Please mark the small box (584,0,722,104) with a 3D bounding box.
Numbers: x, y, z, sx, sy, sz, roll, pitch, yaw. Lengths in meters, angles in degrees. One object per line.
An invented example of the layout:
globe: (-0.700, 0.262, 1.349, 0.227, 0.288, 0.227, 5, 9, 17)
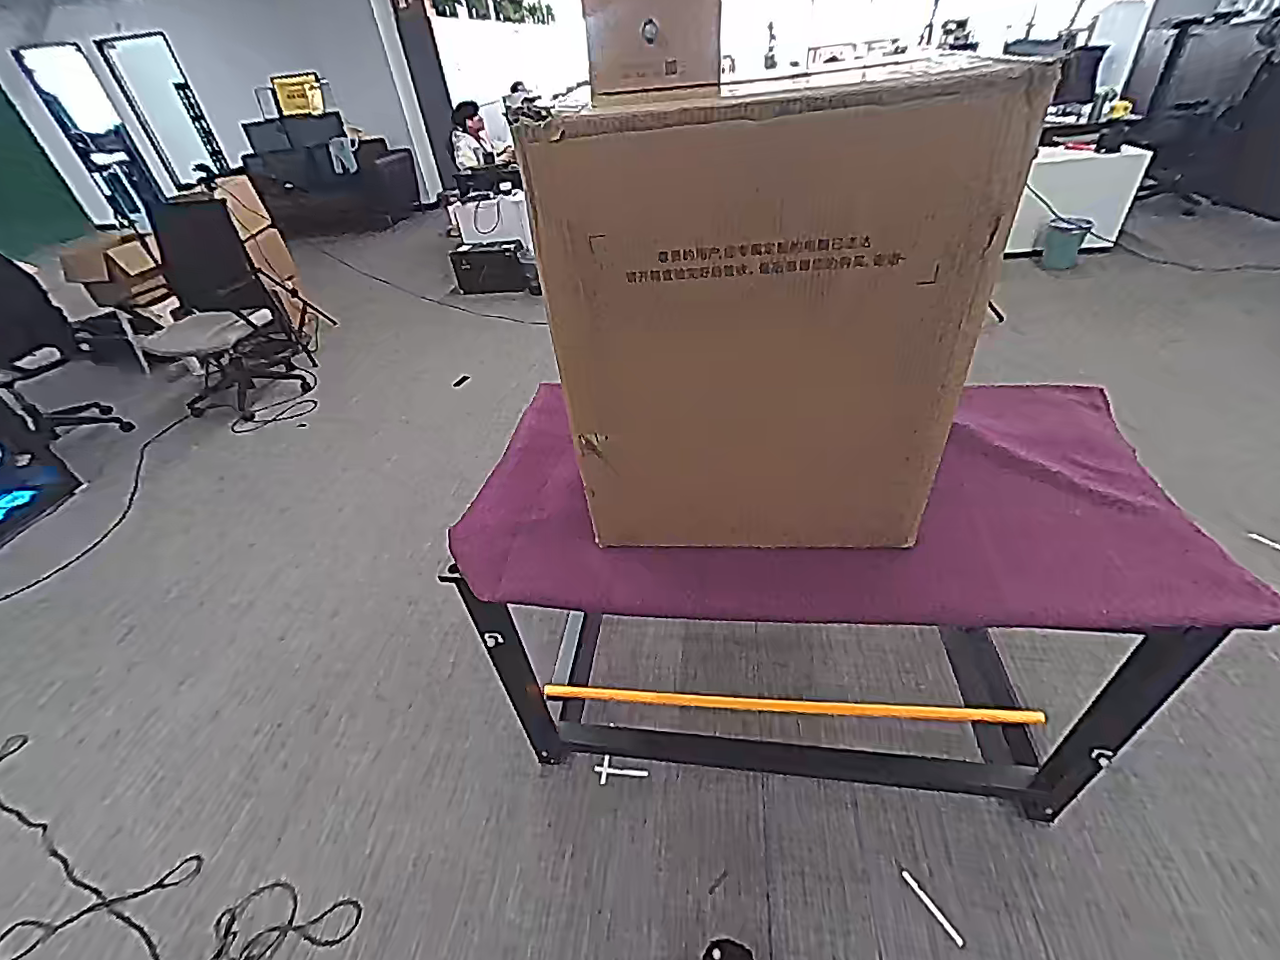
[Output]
small box: (0.022, -0.598, 0.700, 0.168, 0.176, 0.179, 0, 39, 8)
